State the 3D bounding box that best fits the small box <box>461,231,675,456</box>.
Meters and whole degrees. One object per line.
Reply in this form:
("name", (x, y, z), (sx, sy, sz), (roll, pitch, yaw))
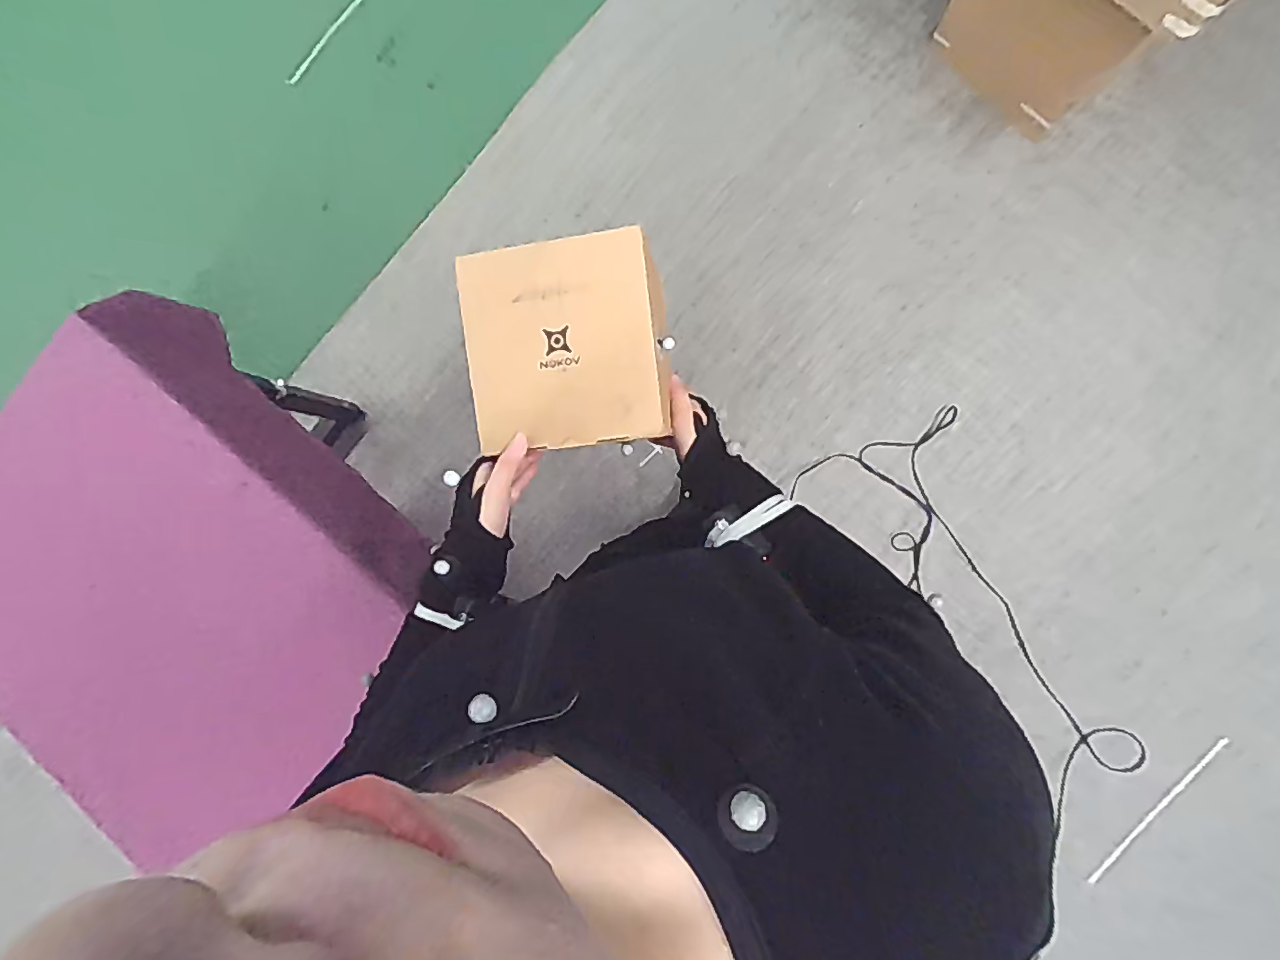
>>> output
("small box", (-0.056, -0.122, 0.544), (0.168, 0.176, 0.179), (-5, 95, 8))
